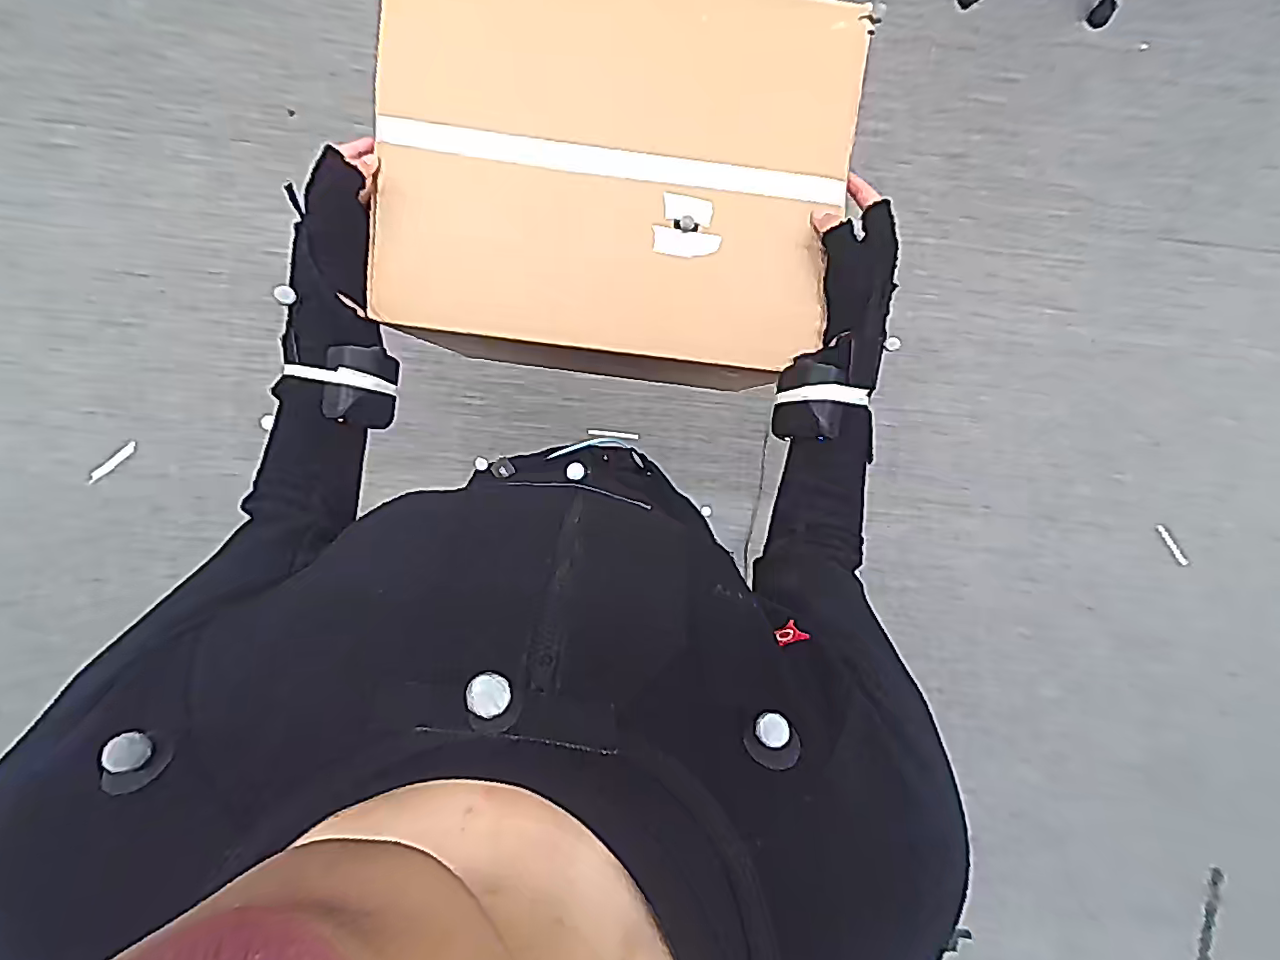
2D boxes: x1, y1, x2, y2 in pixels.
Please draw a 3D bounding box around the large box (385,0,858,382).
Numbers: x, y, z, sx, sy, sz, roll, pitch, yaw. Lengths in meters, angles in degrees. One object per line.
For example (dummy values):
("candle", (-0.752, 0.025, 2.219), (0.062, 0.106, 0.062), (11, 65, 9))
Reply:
("large box", (-0.028, -0.297, 0.628), (0.408, 0.320, 0.320), (6, 98, -4))
